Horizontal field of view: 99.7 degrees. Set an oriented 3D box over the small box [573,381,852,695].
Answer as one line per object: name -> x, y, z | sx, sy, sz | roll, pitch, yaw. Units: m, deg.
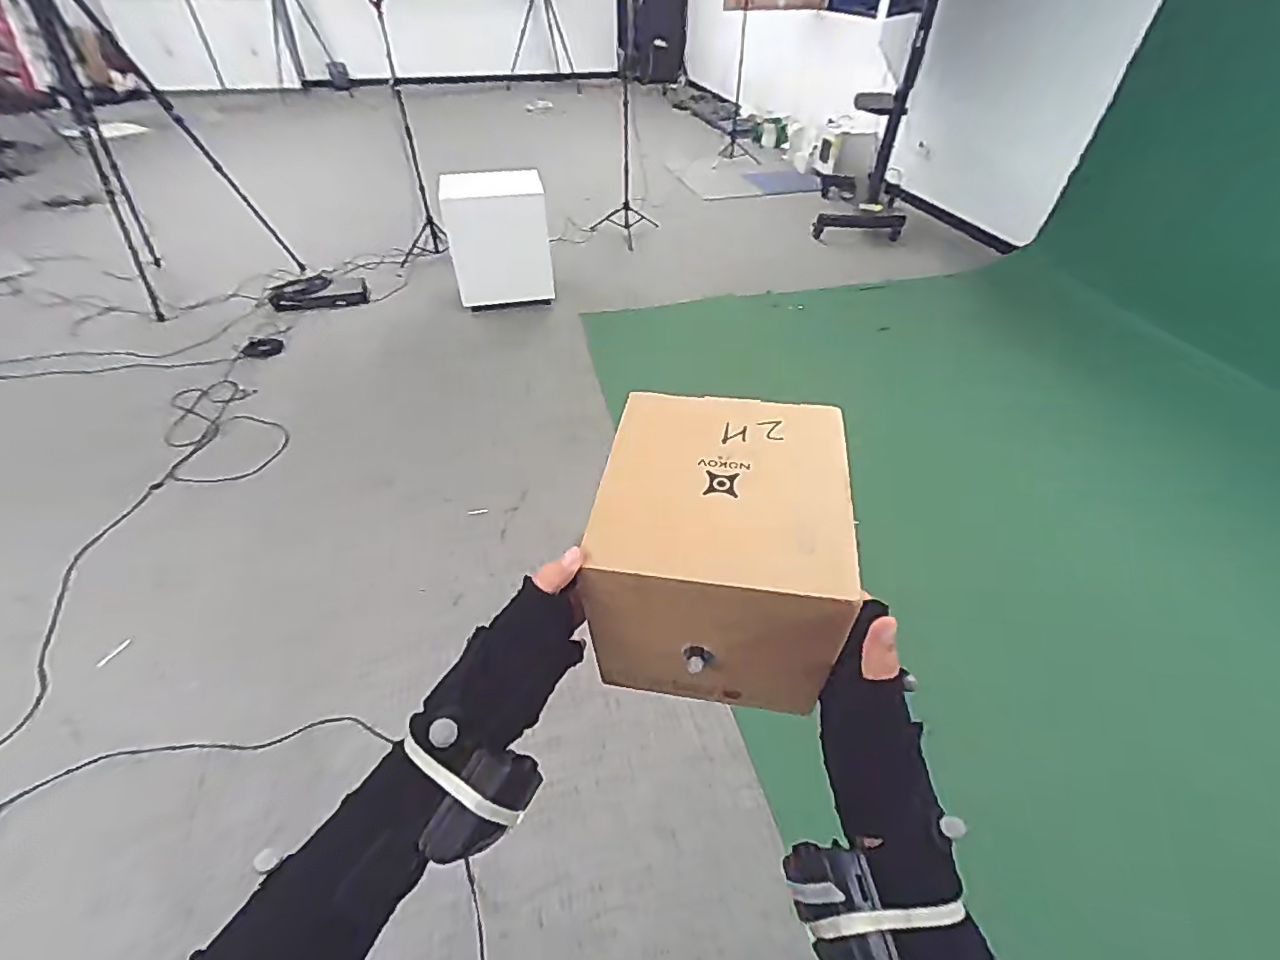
small box -> 0.058, 0.046, 0.423 | 0.168, 0.176, 0.179 | 6, 47, 9
